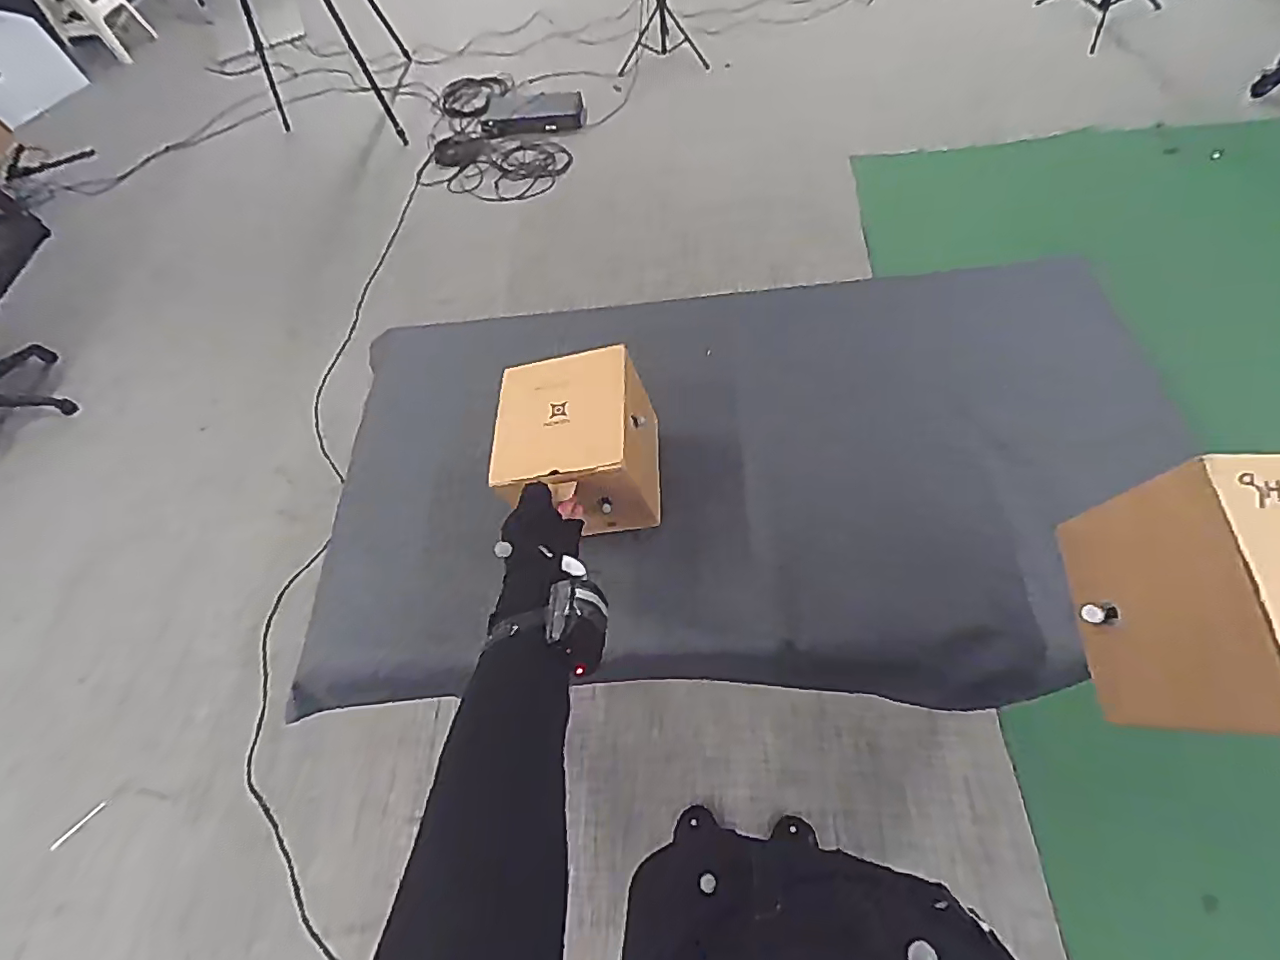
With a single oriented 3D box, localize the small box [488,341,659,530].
[{"bbox_3d":[-0.075,-0.045,0.702,0.168,0.176,0.179,-9,59,13],"label":"small box"}]
